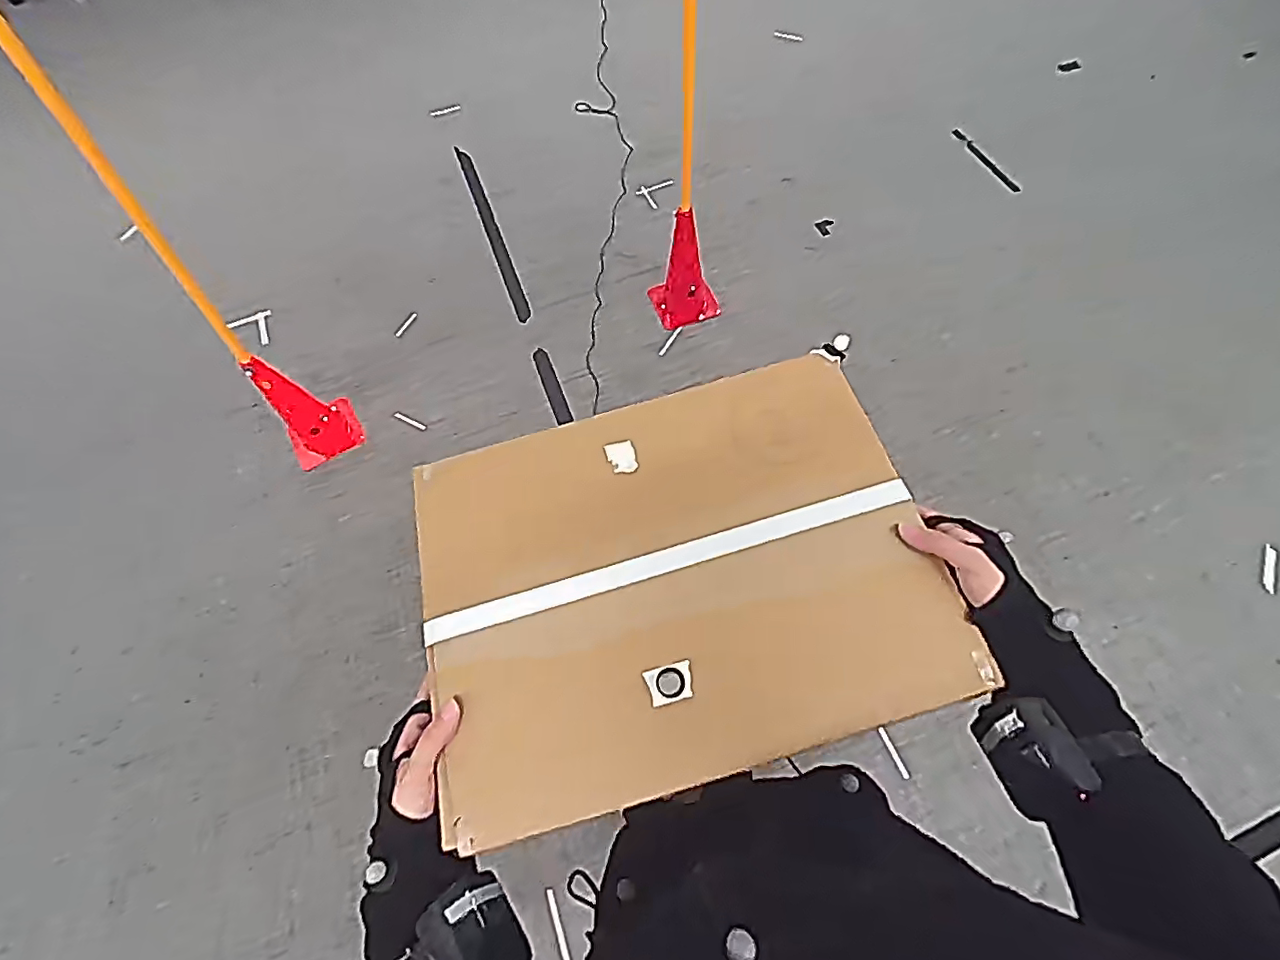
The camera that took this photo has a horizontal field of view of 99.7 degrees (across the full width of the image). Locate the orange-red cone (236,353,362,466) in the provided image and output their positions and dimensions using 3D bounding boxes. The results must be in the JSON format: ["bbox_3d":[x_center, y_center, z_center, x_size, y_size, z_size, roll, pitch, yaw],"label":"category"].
[{"bbox_3d":[-0.974,-0.224,1.496,0.199,0.360,0.198,-30,65,-9],"label":"orange-red cone"}]
